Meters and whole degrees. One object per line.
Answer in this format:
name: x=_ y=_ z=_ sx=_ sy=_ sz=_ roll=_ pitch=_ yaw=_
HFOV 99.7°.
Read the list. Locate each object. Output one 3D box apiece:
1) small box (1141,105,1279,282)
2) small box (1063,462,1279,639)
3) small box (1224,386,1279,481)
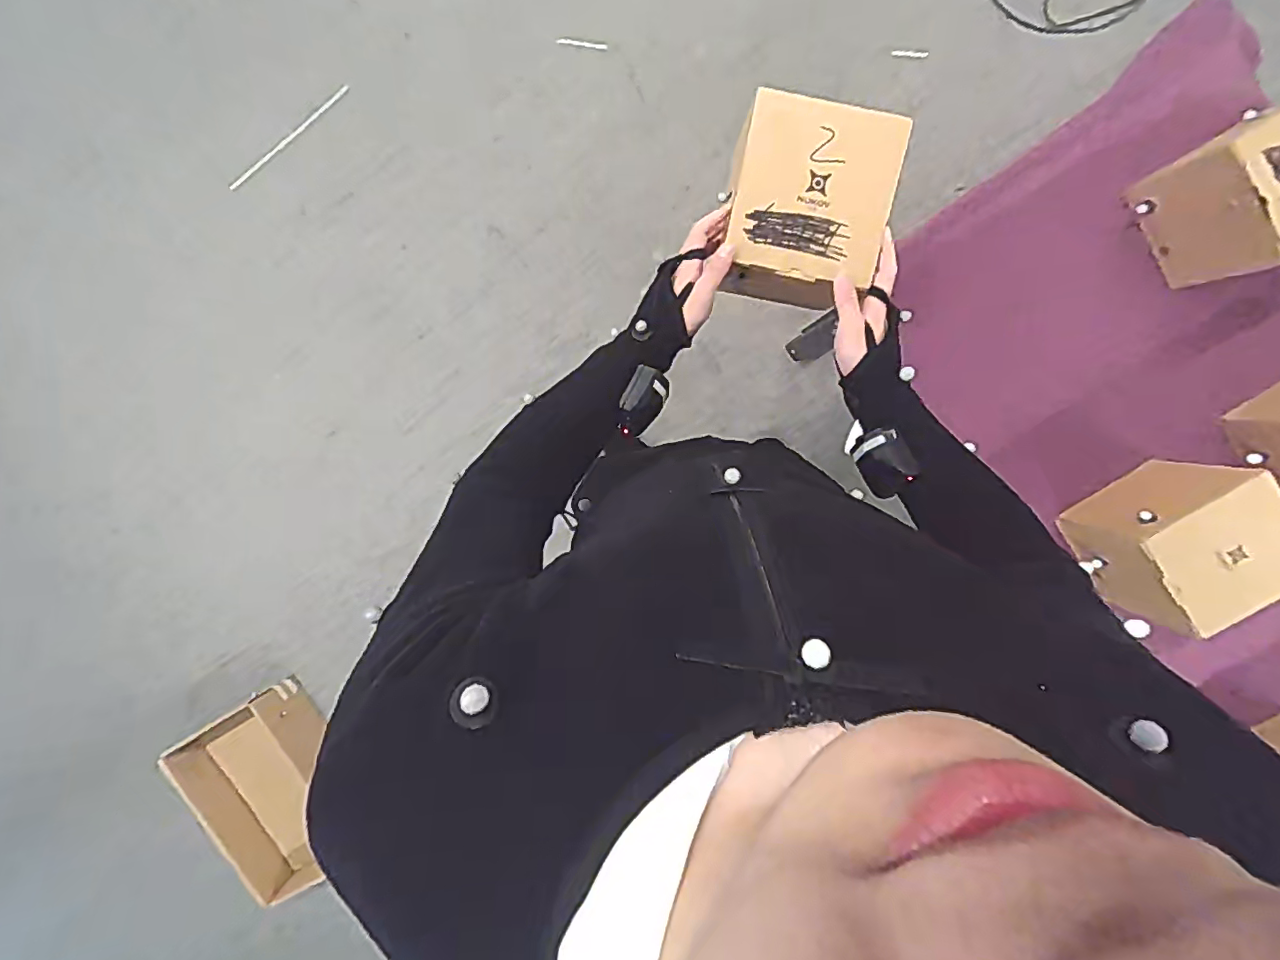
small box: x=0.823 y=-0.386 z=0.709 sx=0.179 sy=0.176 sz=0.168 roll=-31 pitch=95 yaw=9
small box: x=0.778 y=0.089 z=0.780 sx=0.179 sy=0.176 sz=0.168 roll=-34 pitch=94 yaw=8
small box: x=0.996 y=-0.063 z=0.742 sx=0.179 sy=0.176 sz=0.168 roll=-33 pitch=93 yaw=9
